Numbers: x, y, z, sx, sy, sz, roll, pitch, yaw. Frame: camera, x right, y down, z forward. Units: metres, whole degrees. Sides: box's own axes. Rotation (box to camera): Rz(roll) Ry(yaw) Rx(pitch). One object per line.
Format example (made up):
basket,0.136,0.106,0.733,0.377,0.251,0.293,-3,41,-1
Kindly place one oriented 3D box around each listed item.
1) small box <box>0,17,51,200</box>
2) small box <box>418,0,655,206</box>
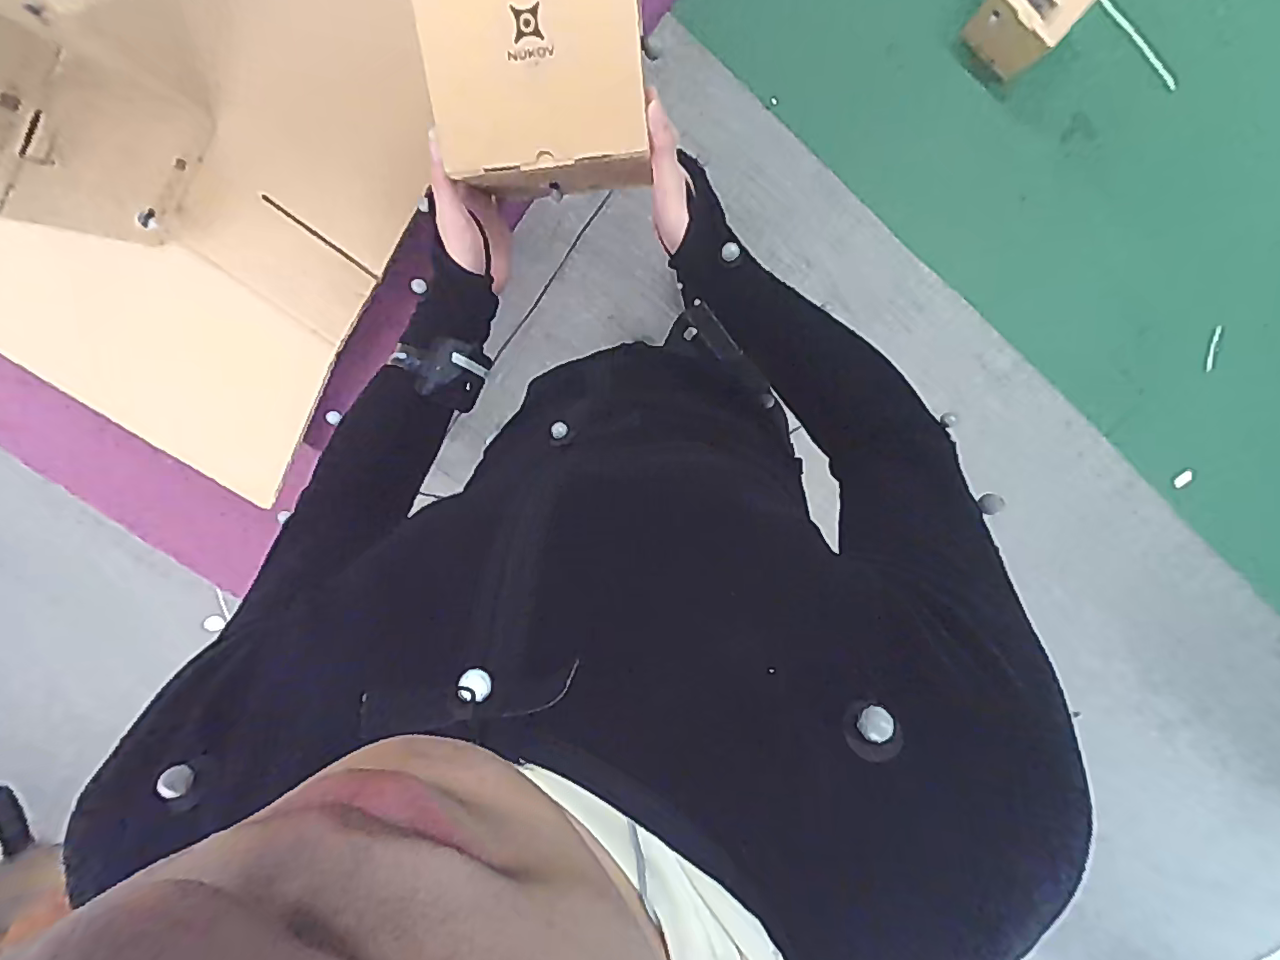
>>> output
small box,-0.598,-0.315,0.372,0.179,0.176,0.168,35,102,-9
small box,-0.075,-0.350,0.470,0.168,0.176,0.179,-4,112,3
